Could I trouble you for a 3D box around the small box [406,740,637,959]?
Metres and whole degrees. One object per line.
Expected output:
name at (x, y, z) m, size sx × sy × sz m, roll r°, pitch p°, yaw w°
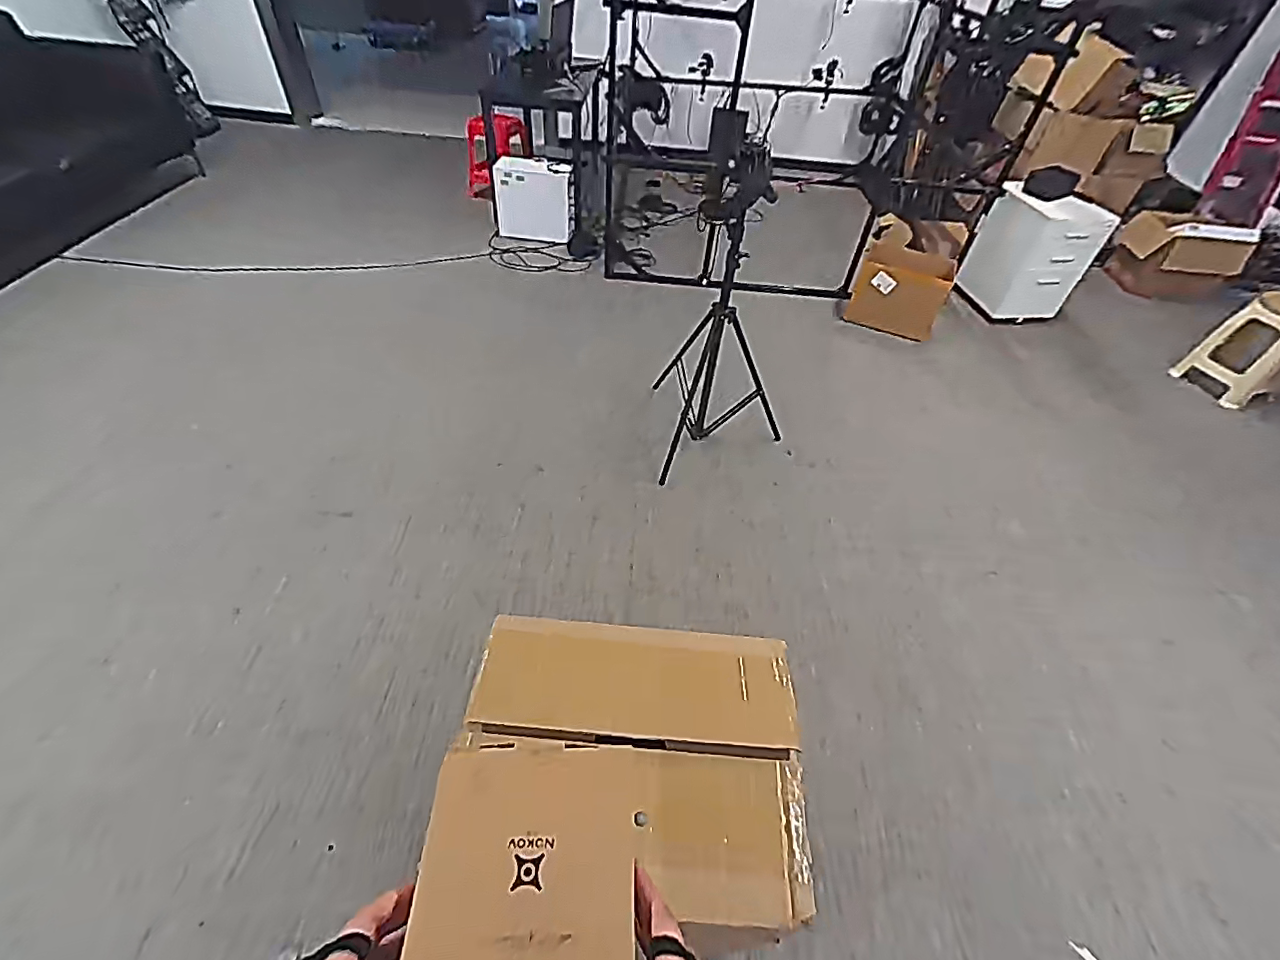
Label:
small box at (-0.089, 0.350, 0.481) m, size 0.168 × 0.176 × 0.179 m, roll 0°, pitch 48°, yaw -3°
